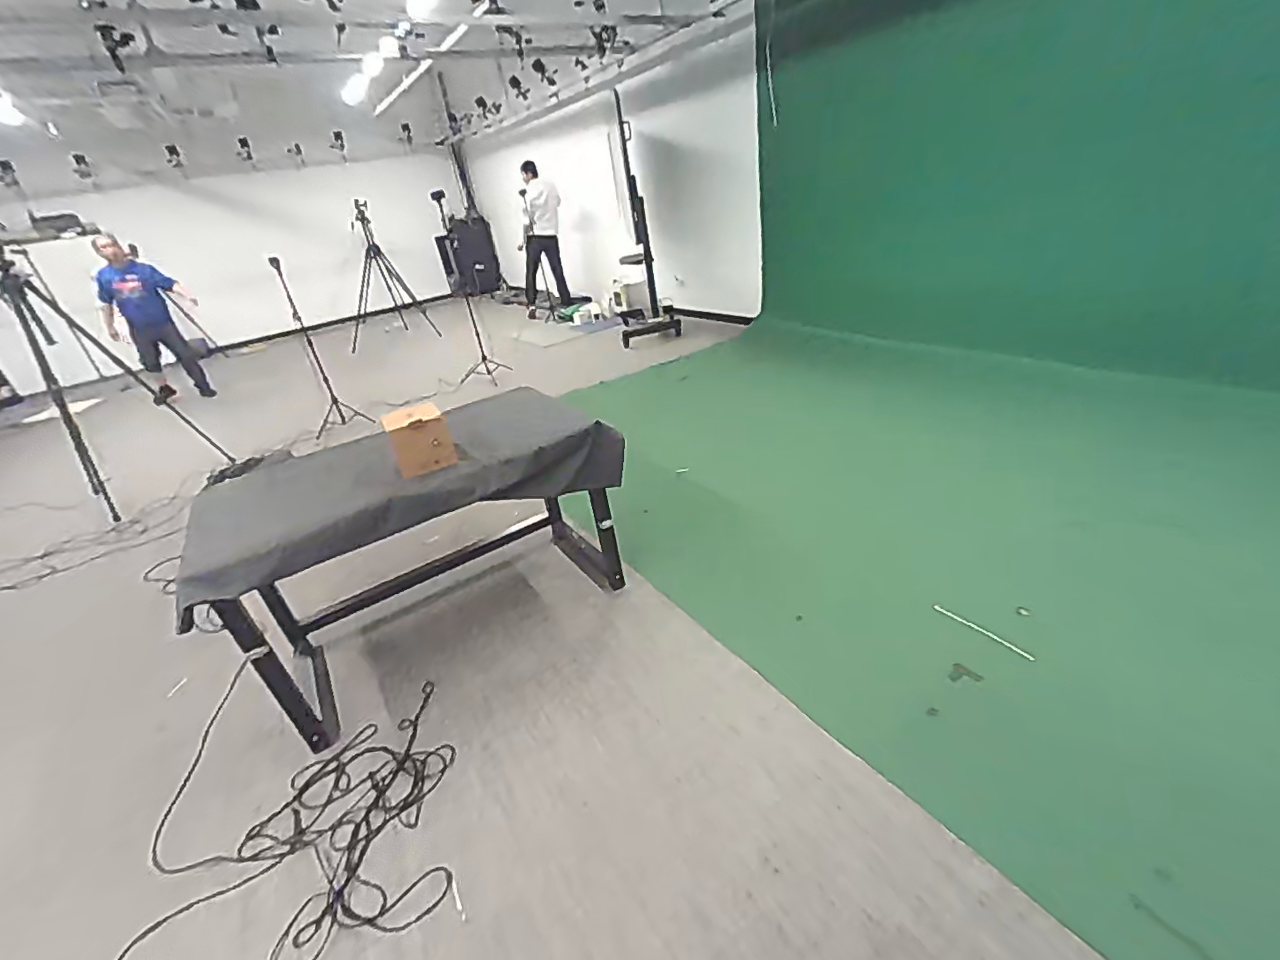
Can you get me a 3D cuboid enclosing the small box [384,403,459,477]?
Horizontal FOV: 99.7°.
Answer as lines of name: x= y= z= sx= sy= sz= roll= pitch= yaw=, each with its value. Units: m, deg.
small box: x=-0.687 y=-0.125 z=1.705 sx=0.168 sy=0.176 sz=0.179 roll=-21 pitch=29 yaw=-23
